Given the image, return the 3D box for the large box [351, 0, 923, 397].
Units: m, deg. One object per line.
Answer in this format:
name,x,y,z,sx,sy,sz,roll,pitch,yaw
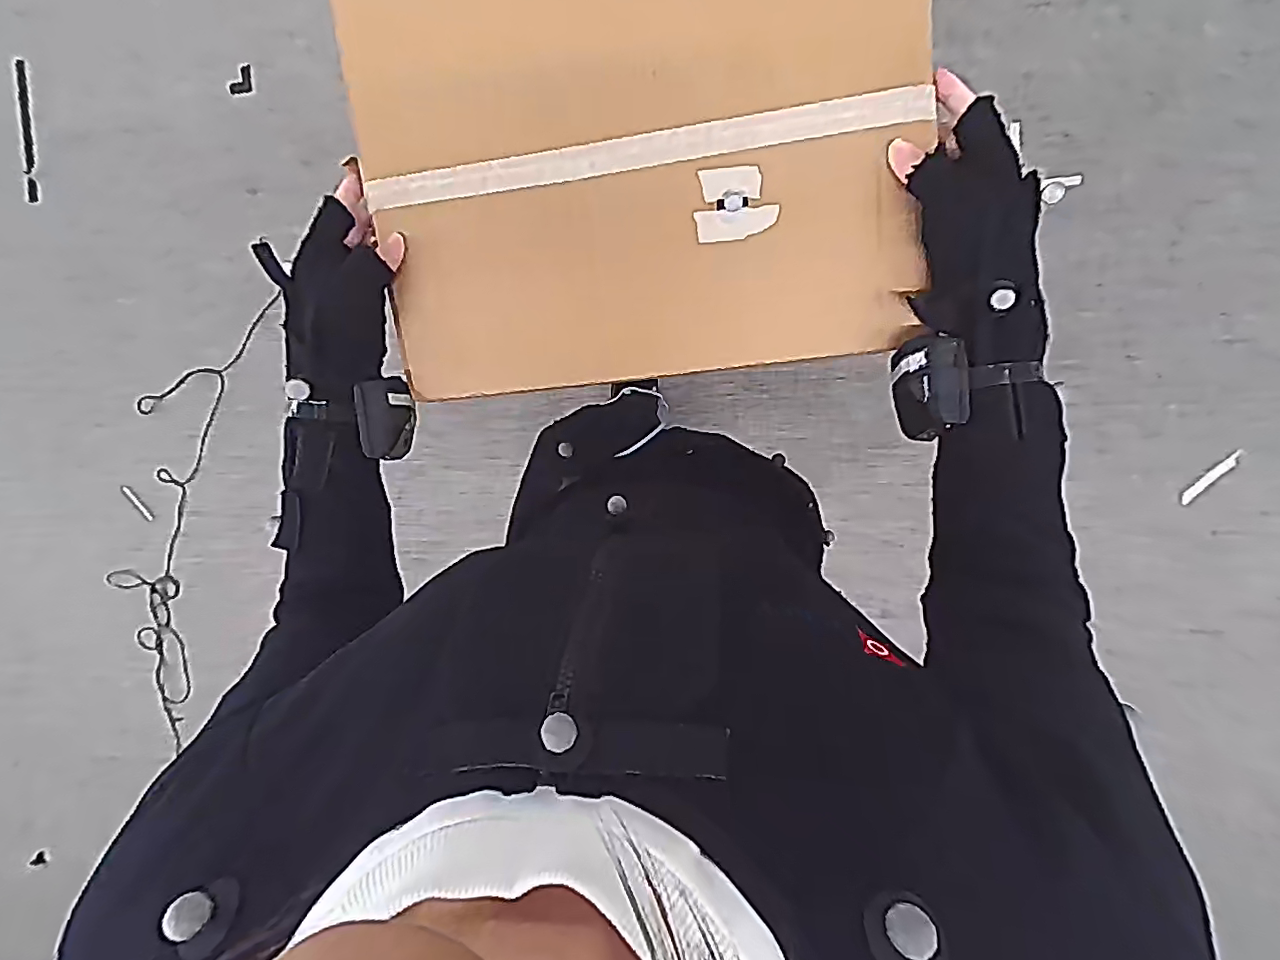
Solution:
large box,0.012,-0.270,0.546,0.408,0.320,0.320,-5,102,7
